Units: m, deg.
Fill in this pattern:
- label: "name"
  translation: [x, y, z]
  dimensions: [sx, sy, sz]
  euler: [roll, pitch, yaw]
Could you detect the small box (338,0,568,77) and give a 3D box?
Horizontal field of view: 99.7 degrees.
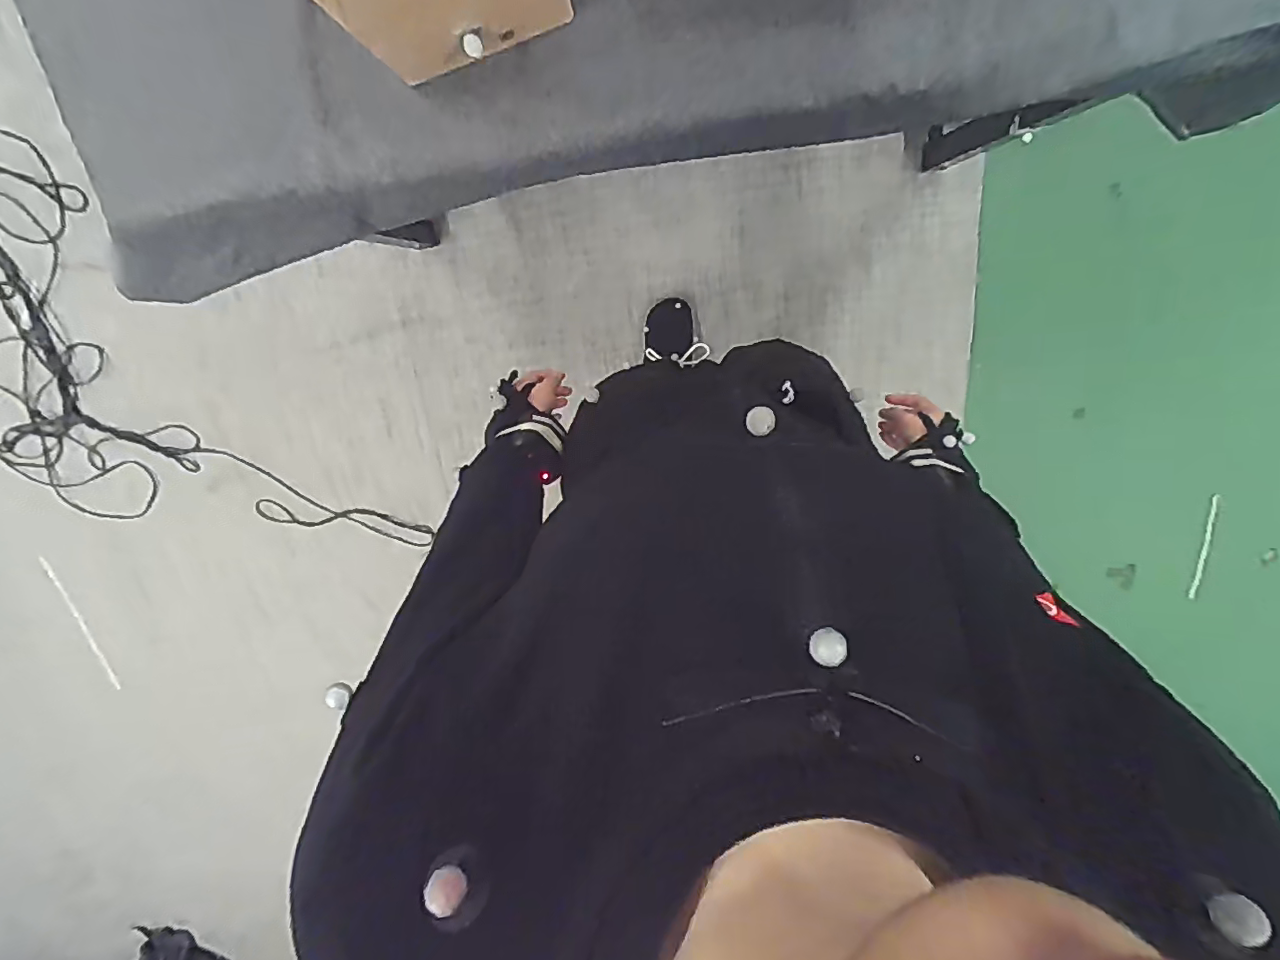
- label: "small box"
  translation: [-0.164, -0.443, 0.391]
  dimensions: [0.168, 0.176, 0.179]
  euler: [-17, 109, 7]
